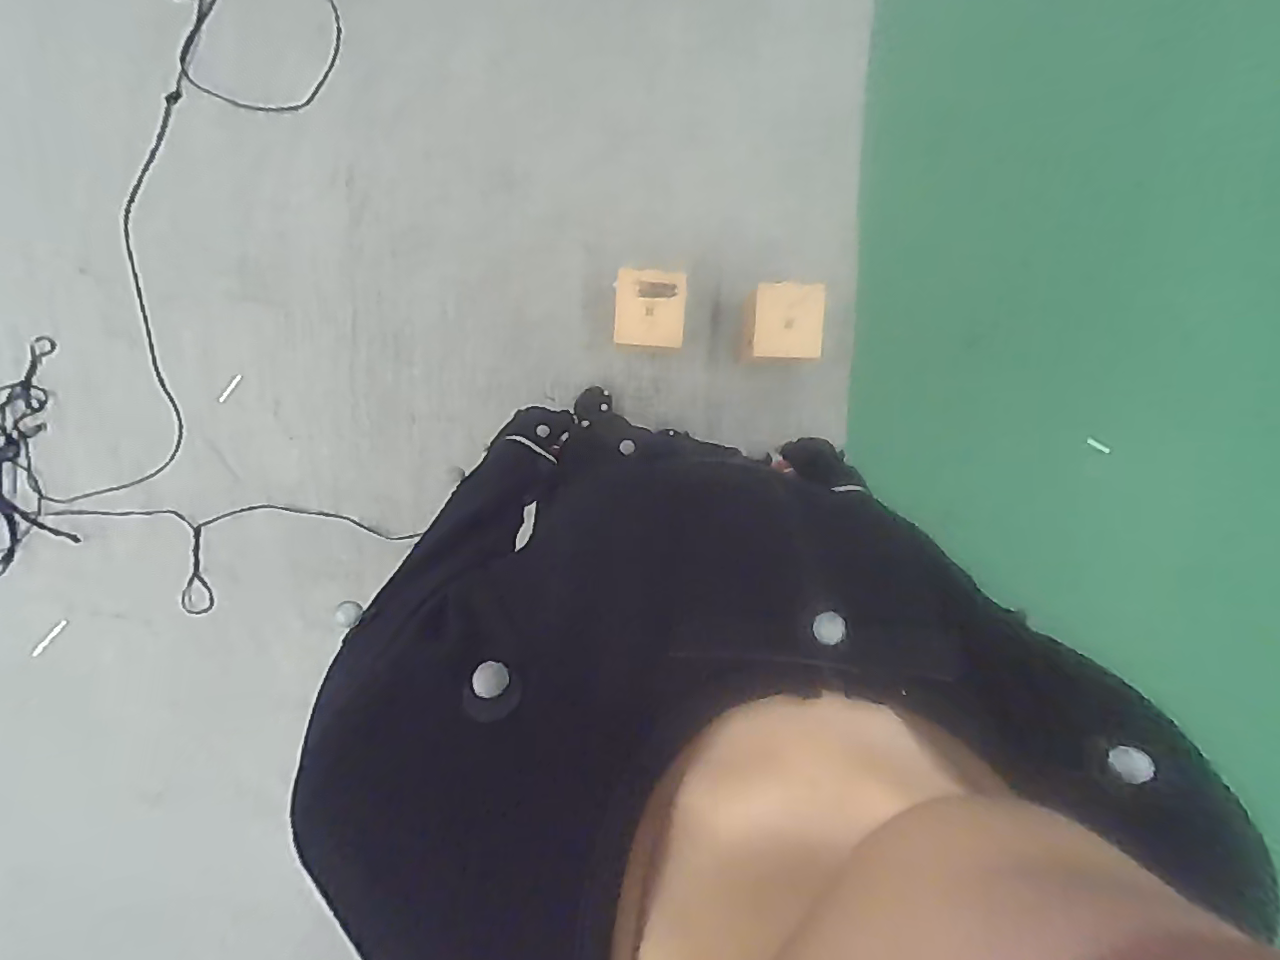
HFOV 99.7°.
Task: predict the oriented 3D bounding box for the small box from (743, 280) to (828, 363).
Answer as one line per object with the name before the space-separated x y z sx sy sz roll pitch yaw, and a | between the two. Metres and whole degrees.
small box | 0.356 -0.388 1.352 0.168 0.176 0.179 1 96 -1
